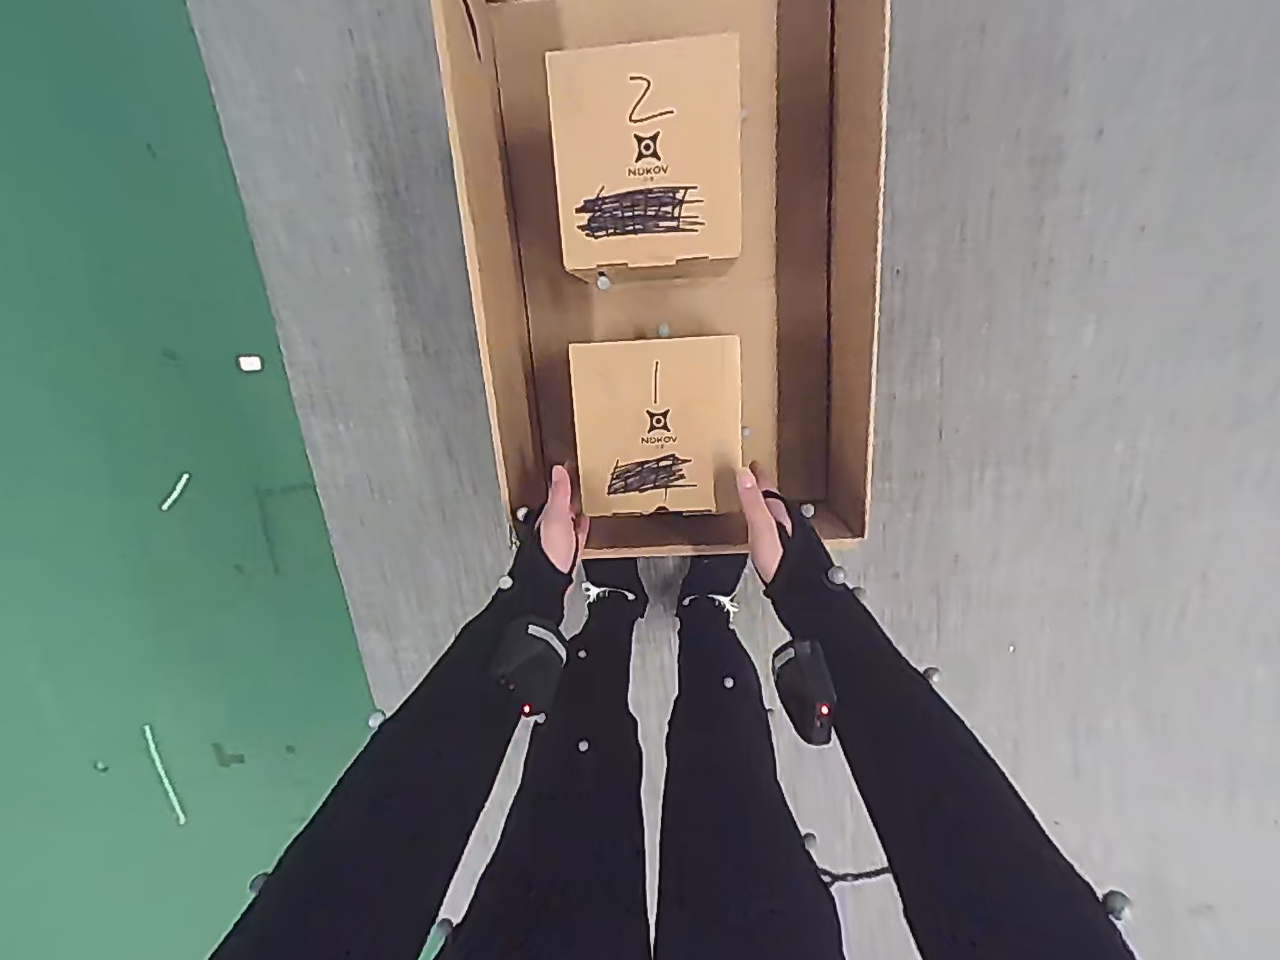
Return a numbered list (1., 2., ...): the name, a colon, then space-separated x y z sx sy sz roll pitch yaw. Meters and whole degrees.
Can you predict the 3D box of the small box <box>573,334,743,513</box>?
1. small box: 0.026 -0.071 0.611 0.168 0.176 0.179 -2 103 5
